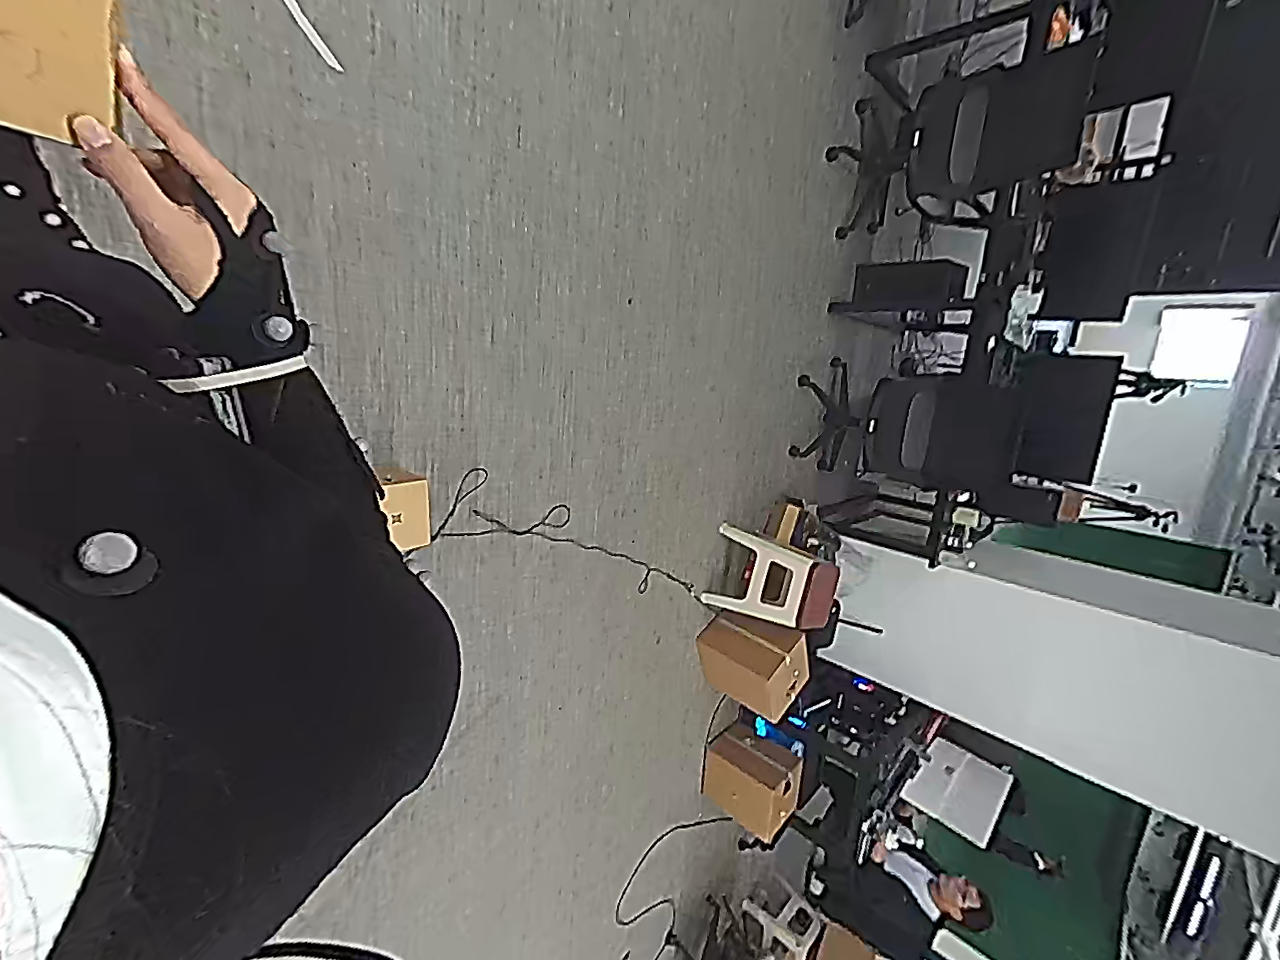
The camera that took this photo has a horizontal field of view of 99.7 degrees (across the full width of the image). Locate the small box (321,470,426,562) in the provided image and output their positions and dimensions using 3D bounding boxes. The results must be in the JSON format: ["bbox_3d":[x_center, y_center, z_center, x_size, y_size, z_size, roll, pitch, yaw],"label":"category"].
[{"bbox_3d":[-0.630,0.076,1.282,0.179,0.176,0.168,-10,107,-45],"label":"small box"}]
